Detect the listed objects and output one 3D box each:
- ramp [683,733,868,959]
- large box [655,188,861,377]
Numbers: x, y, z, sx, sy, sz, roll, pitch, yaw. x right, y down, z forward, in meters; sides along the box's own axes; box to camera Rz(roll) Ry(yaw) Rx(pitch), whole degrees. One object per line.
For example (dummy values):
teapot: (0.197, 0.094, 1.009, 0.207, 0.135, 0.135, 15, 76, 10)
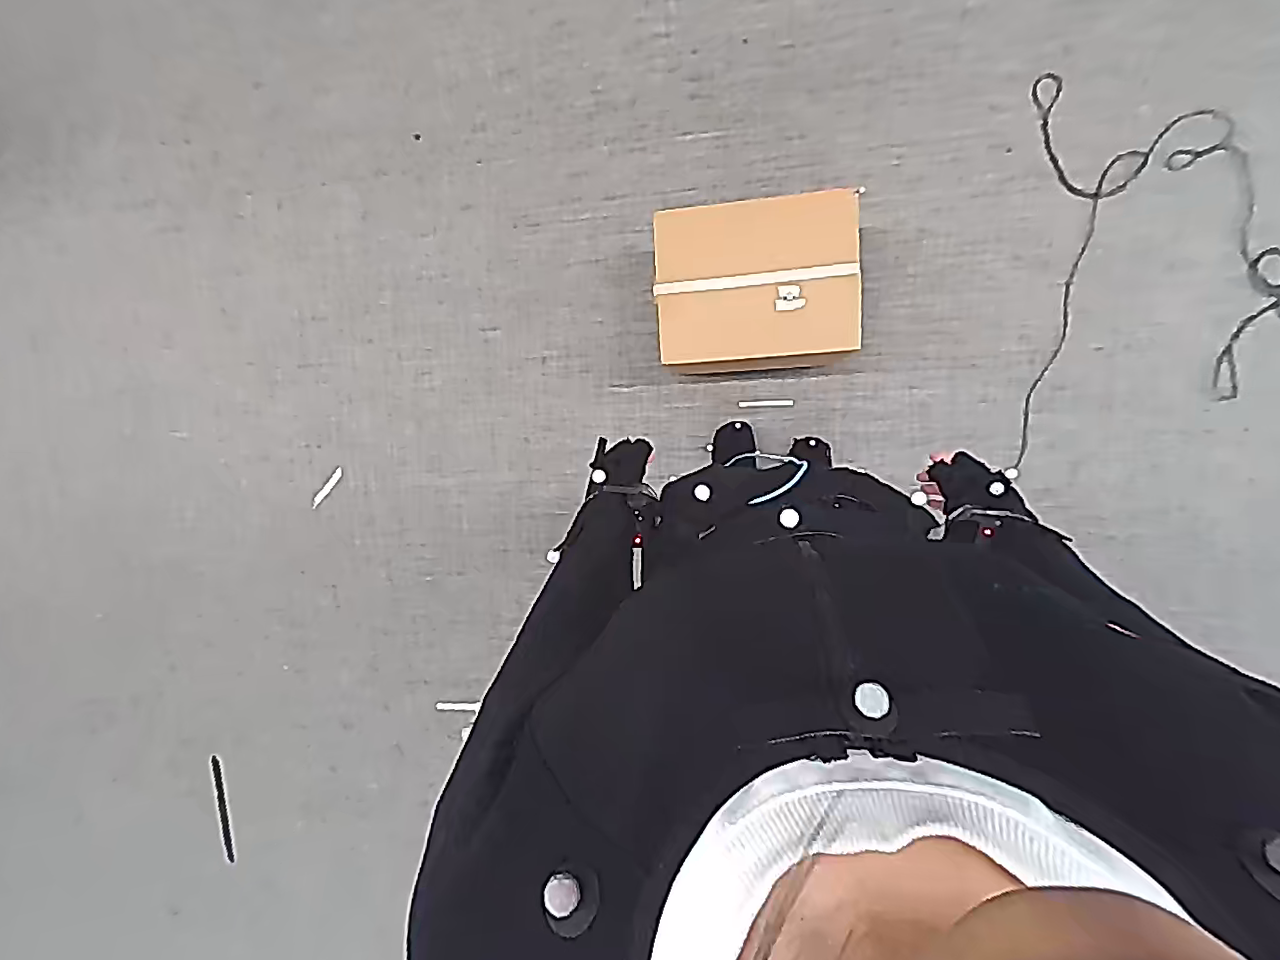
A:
ramp: (0.362, 1.223, 1.477, 0.509, 0.206, 0.991, 0, 96, 11)
large box: (0.259, -0.423, 1.246, 0.408, 0.320, 0.320, -3, 96, 9)
